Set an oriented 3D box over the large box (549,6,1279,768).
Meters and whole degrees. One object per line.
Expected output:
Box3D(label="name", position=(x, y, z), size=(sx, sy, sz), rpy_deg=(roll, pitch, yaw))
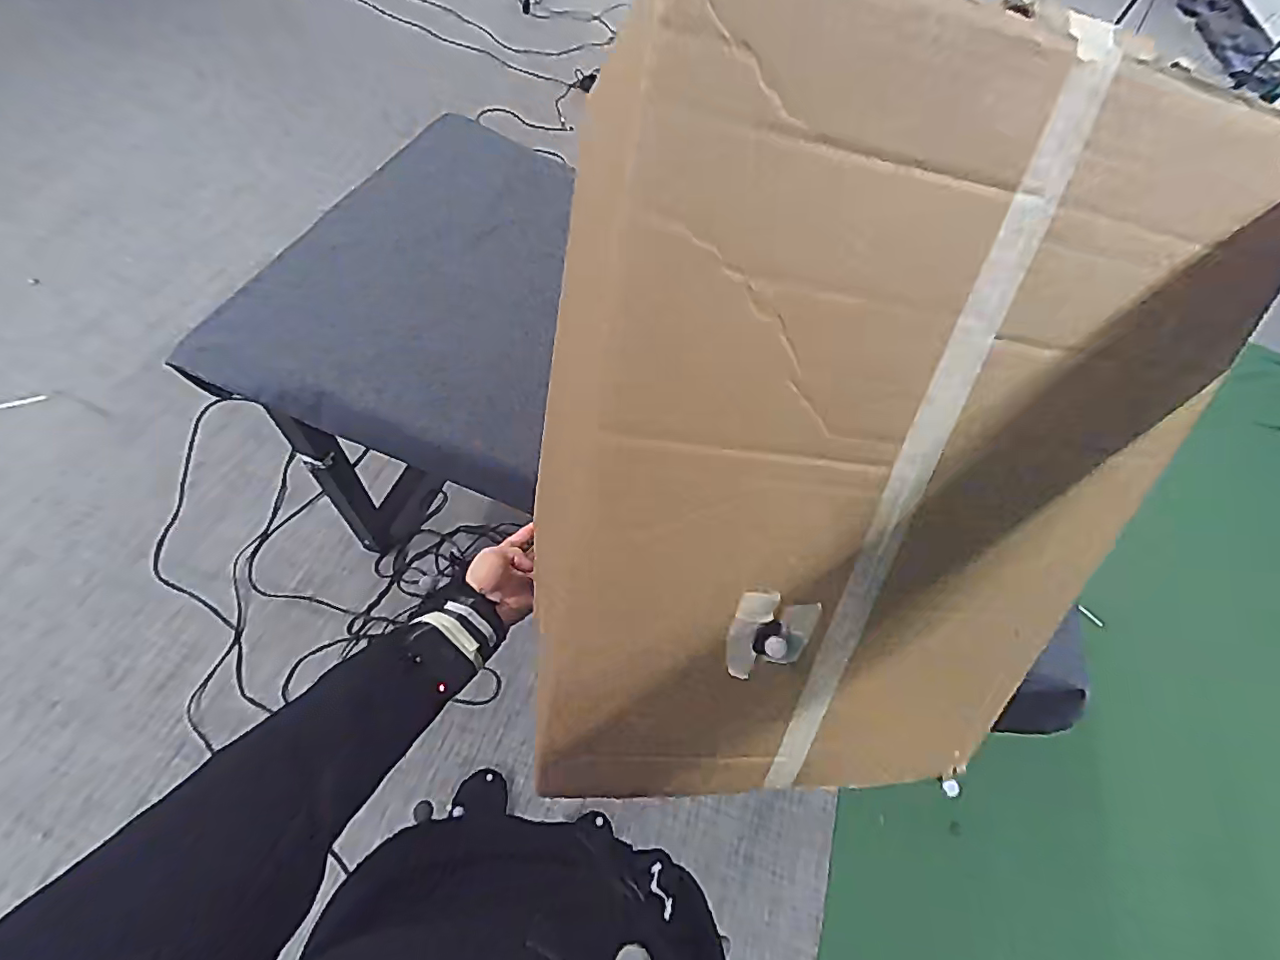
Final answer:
Box3D(label="large box", position=(0.104, -0.049, 0.429), size=(0.320, 0.408, 0.320), rpy_deg=(4, 28, -14))
